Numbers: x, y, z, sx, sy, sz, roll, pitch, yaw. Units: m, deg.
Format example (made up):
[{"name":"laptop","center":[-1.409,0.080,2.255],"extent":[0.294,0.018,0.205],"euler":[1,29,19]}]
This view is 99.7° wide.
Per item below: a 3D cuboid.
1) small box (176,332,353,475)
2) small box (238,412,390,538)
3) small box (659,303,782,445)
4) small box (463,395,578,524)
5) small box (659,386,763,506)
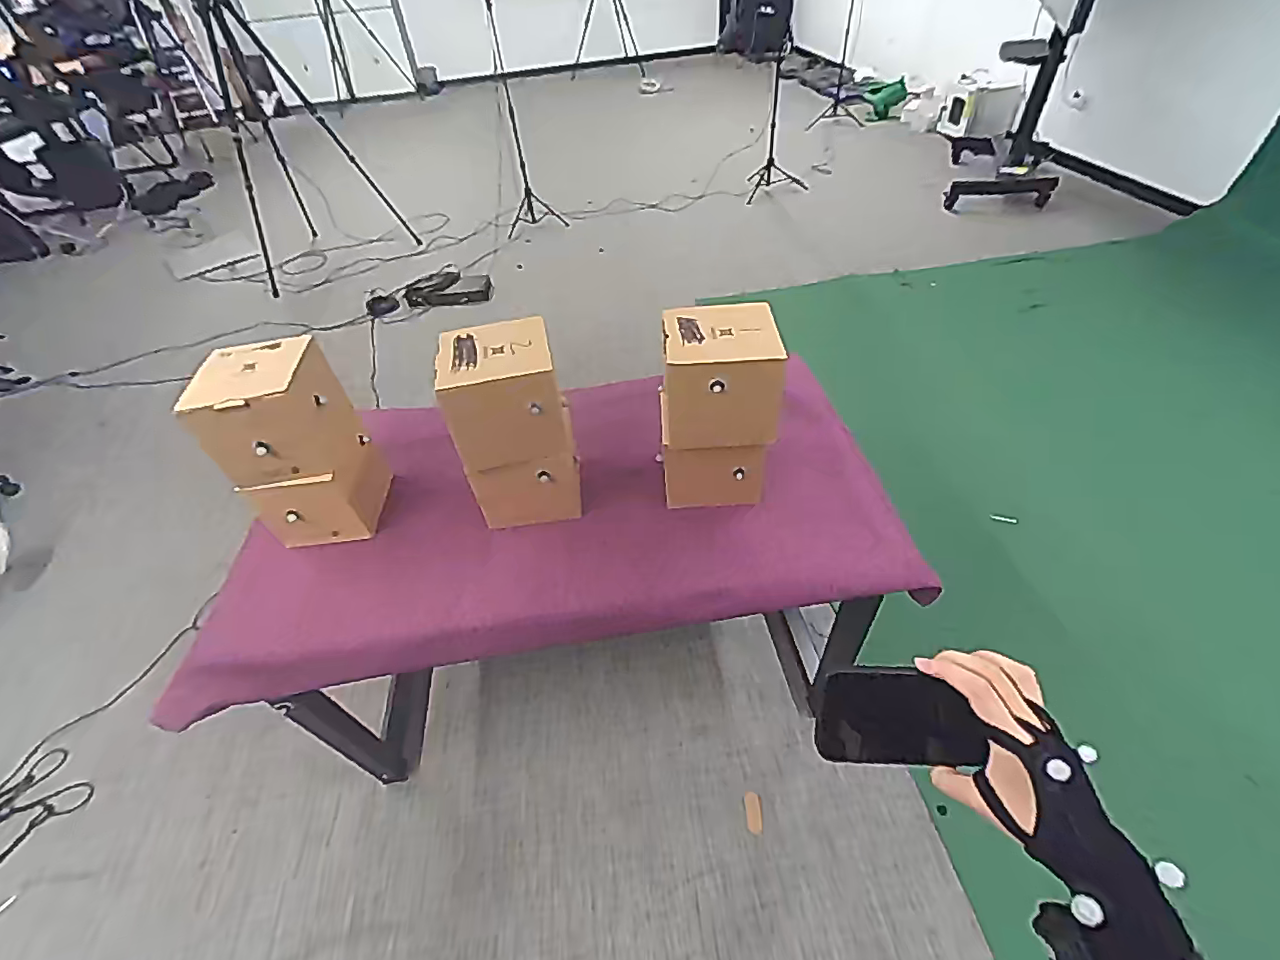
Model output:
[{"name":"small box","center":[-0.615,-0.123,0.917],"extent":[0.168,0.176,0.179],"euler":[-10,47,-4]},{"name":"small box","center":[-0.602,-0.004,1.030],"extent":[0.168,0.176,0.179],"euler":[-6,46,0]},{"name":"small box","center":[0.124,-0.169,0.887],"extent":[0.179,0.176,0.168],"euler":[-2,46,3]},{"name":"small box","center":[-0.213,-0.037,1.019],"extent":[0.179,0.176,0.168],"euler":[-7,46,-1]},{"name":"small box","center":[0.127,-0.066,1.015],"extent":[0.179,0.176,0.168],"euler":[-3,46,4]}]
